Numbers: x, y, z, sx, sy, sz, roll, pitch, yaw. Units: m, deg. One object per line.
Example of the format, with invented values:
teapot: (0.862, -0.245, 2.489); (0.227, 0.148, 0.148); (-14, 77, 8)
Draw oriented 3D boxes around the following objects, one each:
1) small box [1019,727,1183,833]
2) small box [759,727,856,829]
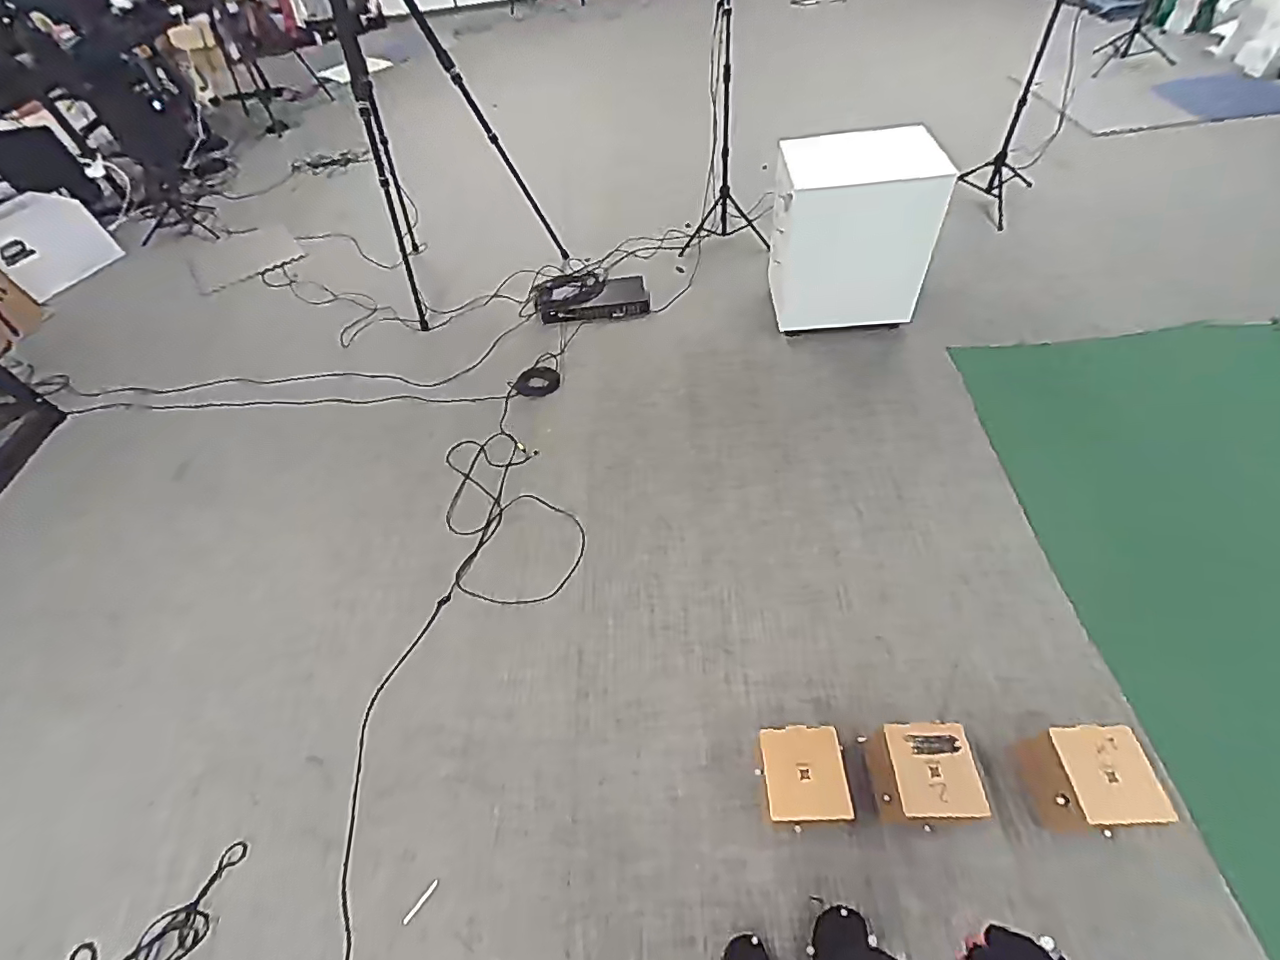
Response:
small box: (0.943, 0.629, 1.128); (0.168, 0.176, 0.179); (-4, 52, 4)
small box: (0.357, 0.657, 1.185); (0.168, 0.176, 0.179); (-5, 52, 5)
